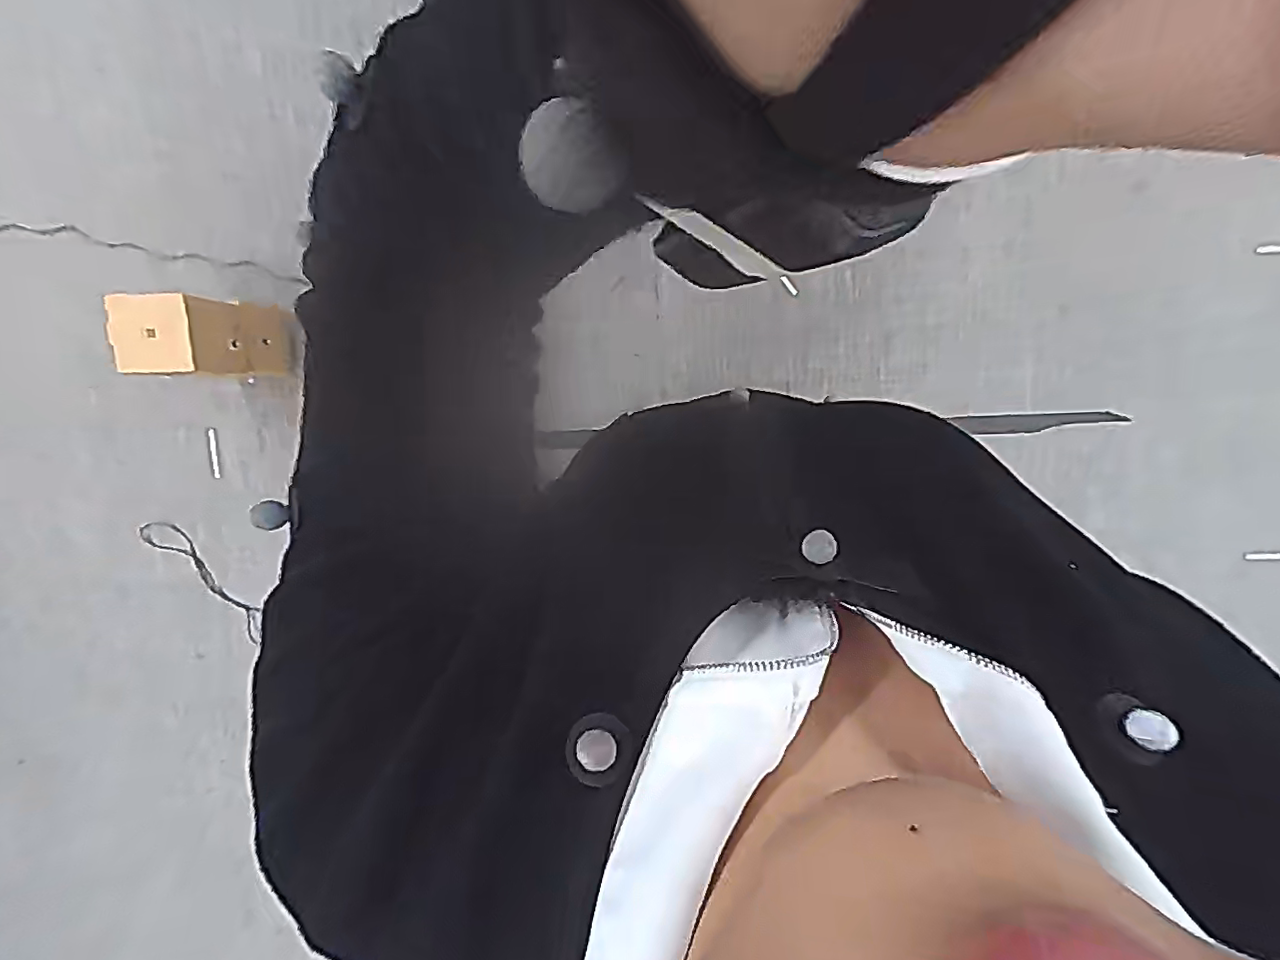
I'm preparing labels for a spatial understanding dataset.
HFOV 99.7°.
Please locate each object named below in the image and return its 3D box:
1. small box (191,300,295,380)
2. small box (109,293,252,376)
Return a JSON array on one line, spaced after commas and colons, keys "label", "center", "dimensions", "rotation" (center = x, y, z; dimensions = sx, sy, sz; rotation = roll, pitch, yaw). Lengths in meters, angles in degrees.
[{"label": "small box", "center": [-1.032, -0.355, 1.397], "dimensions": [0.168, 0.176, 0.179], "rotation": [-4, 99, 2]}, {"label": "small box", "center": [-1.040, -0.327, 1.237], "dimensions": [0.179, 0.176, 0.168], "rotation": [-2, 100, 1]}]
